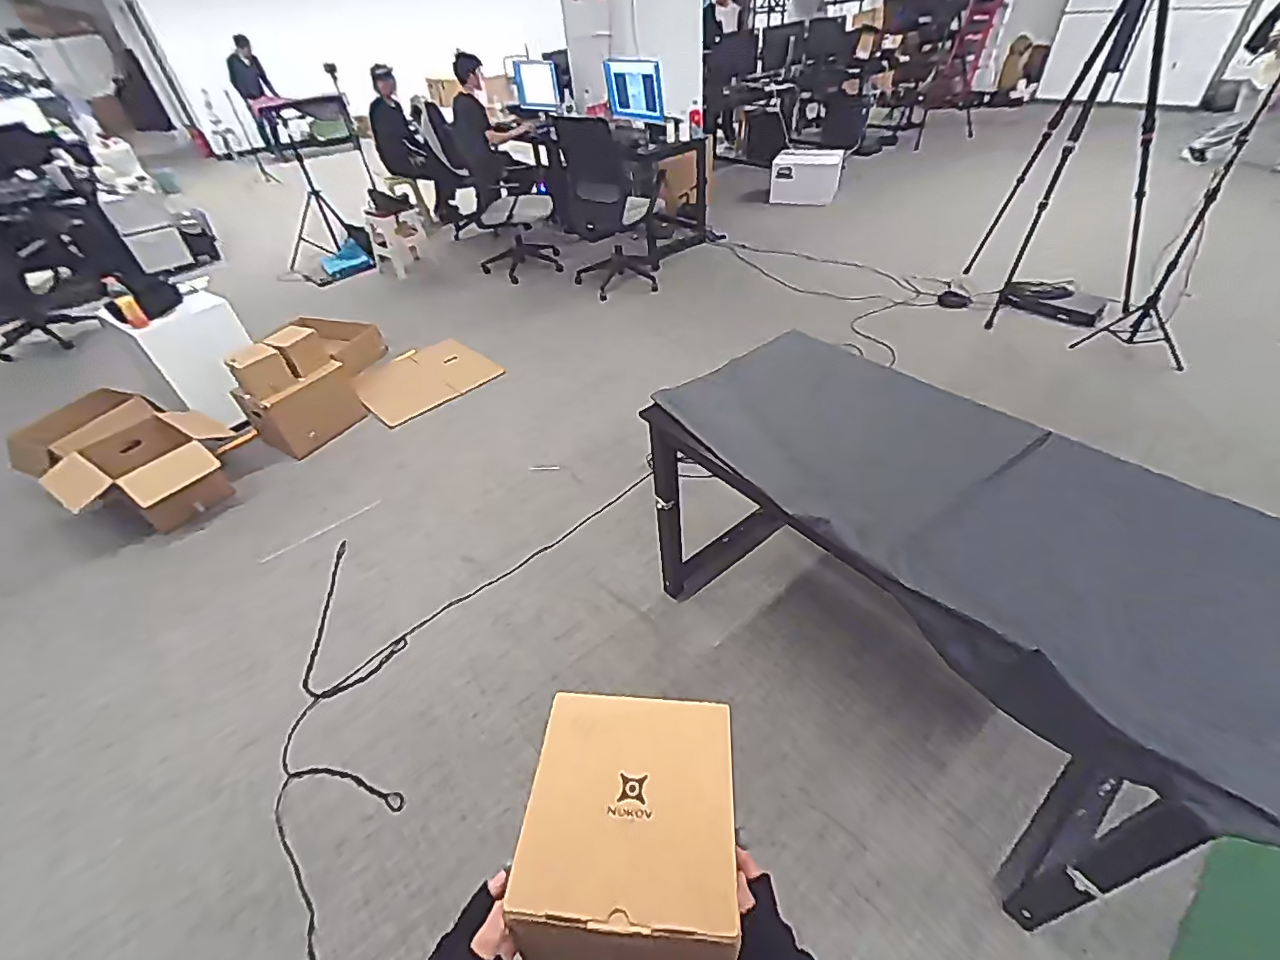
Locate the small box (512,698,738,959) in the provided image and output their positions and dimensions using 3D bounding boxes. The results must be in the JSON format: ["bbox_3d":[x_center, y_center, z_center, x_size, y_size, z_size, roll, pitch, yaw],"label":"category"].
[{"bbox_3d":[-0.004,0.330,0.494,0.168,0.176,0.179,2,35,5],"label":"small box"}]
